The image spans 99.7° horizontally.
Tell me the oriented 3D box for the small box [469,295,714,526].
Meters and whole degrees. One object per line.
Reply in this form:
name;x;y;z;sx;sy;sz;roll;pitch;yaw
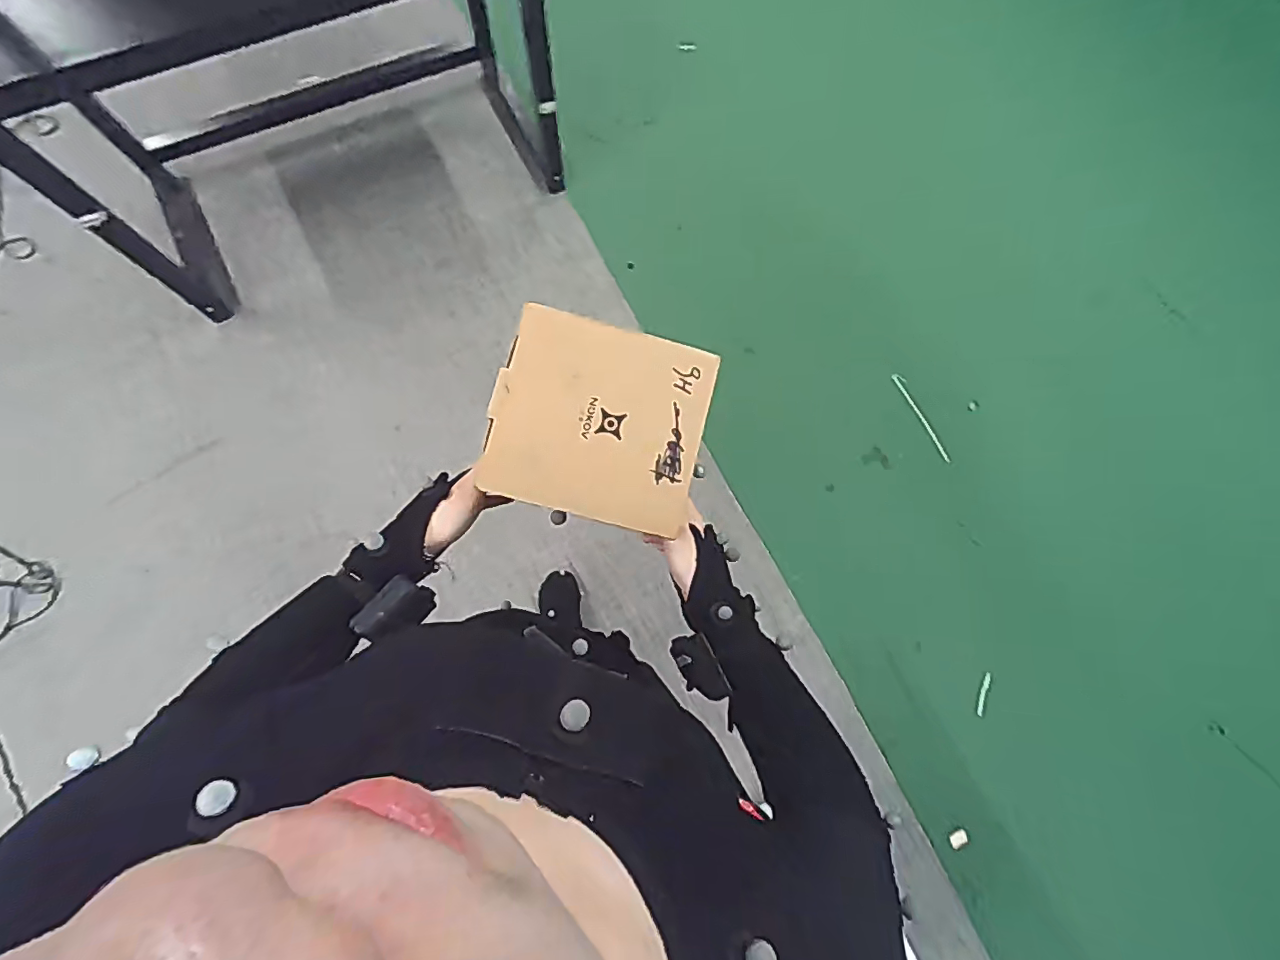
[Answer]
small box;-0.046;-0.053;0.536;0.179;0.176;0.168;15;85;-5
